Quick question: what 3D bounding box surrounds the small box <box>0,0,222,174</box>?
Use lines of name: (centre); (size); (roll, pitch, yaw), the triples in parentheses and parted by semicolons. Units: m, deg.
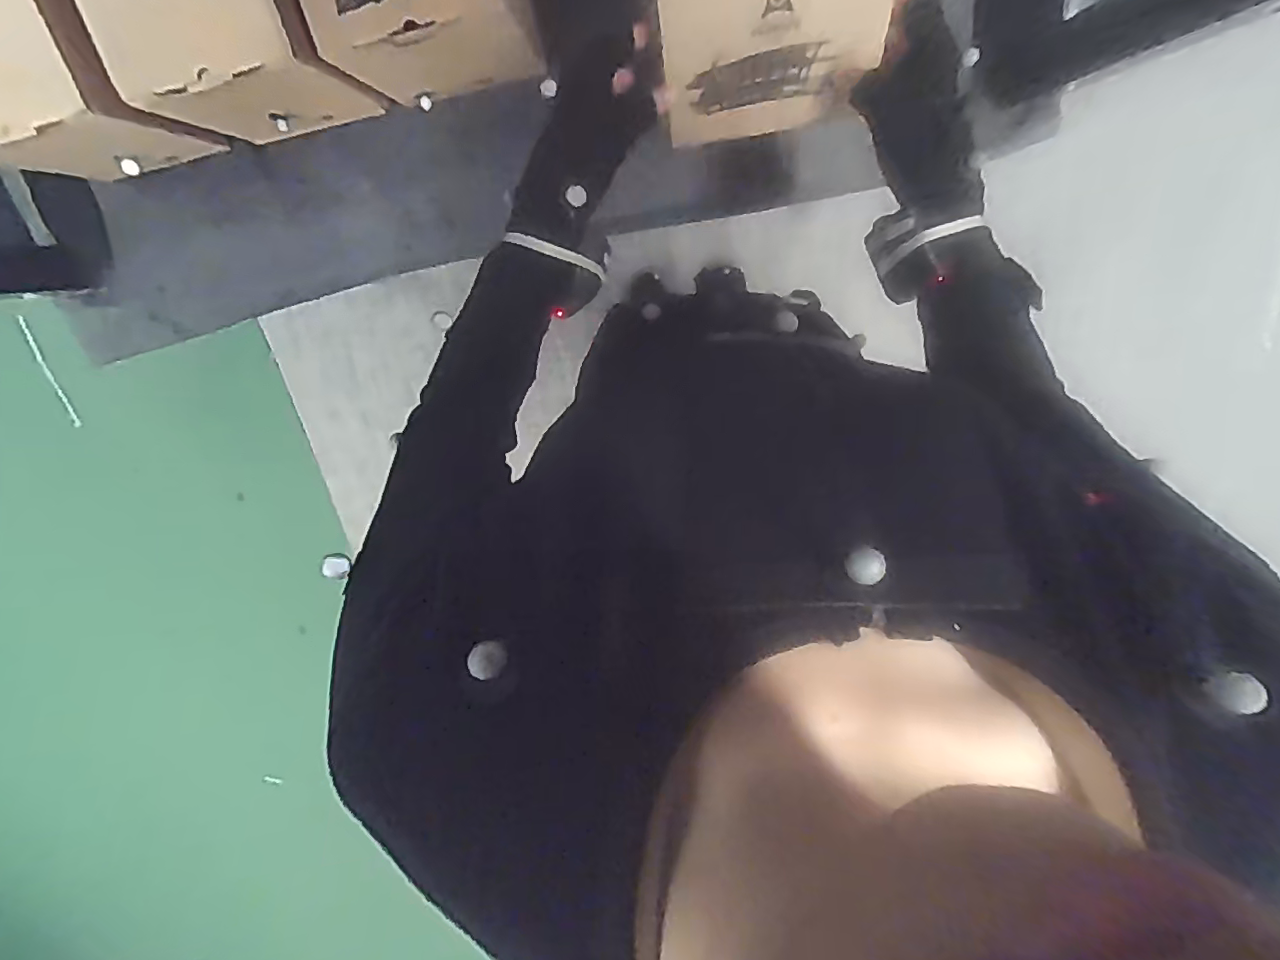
small box: (-0.567, -0.417, 0.518); (0.168, 0.176, 0.179); (-9, 112, 7)
